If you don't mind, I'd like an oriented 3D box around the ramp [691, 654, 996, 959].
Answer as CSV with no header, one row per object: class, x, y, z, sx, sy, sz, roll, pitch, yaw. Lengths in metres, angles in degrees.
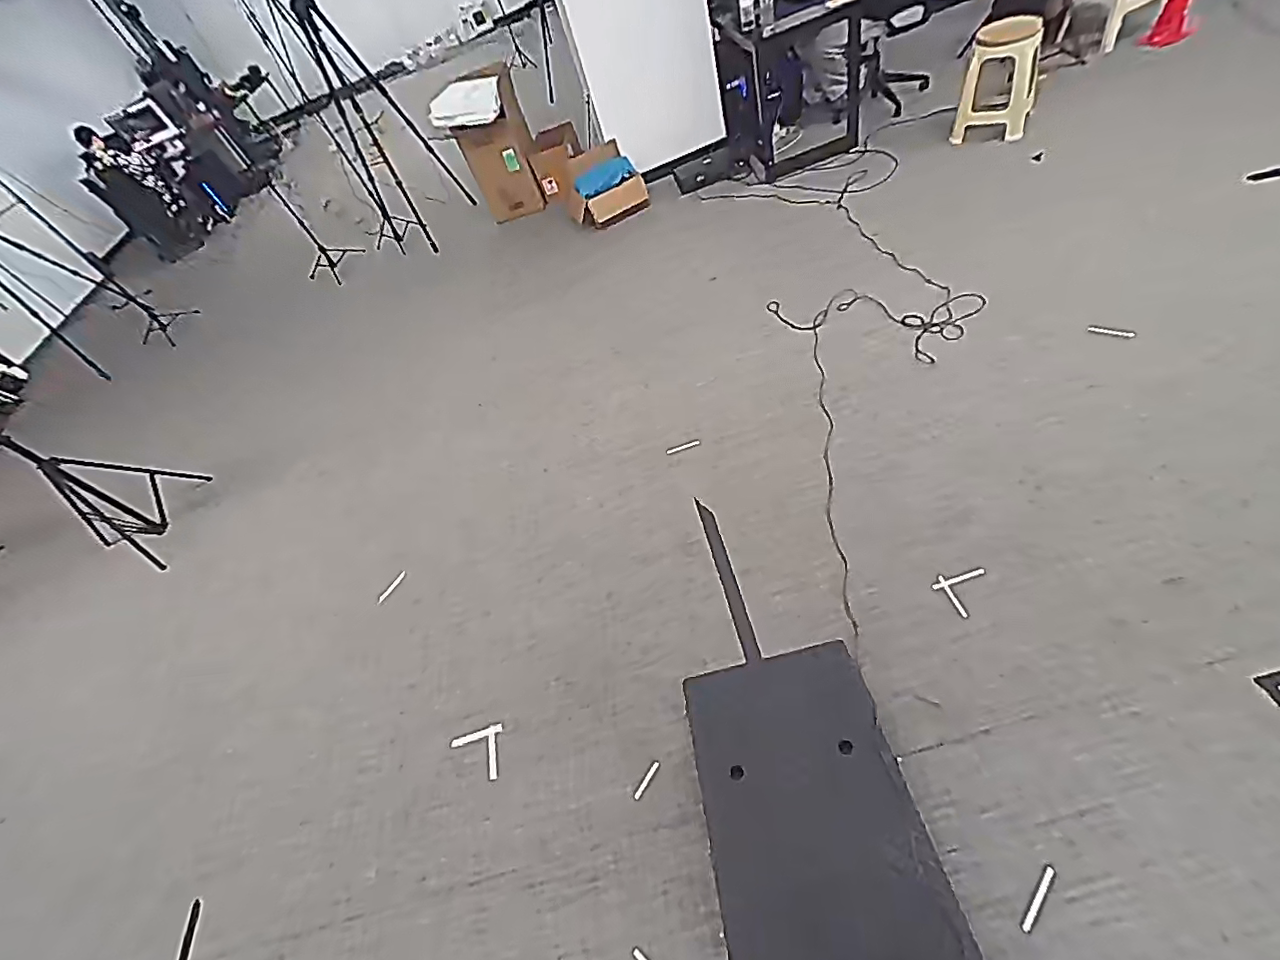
ramp,0.431,0.883,1.212,0.509,0.206,0.991,-21,46,6
